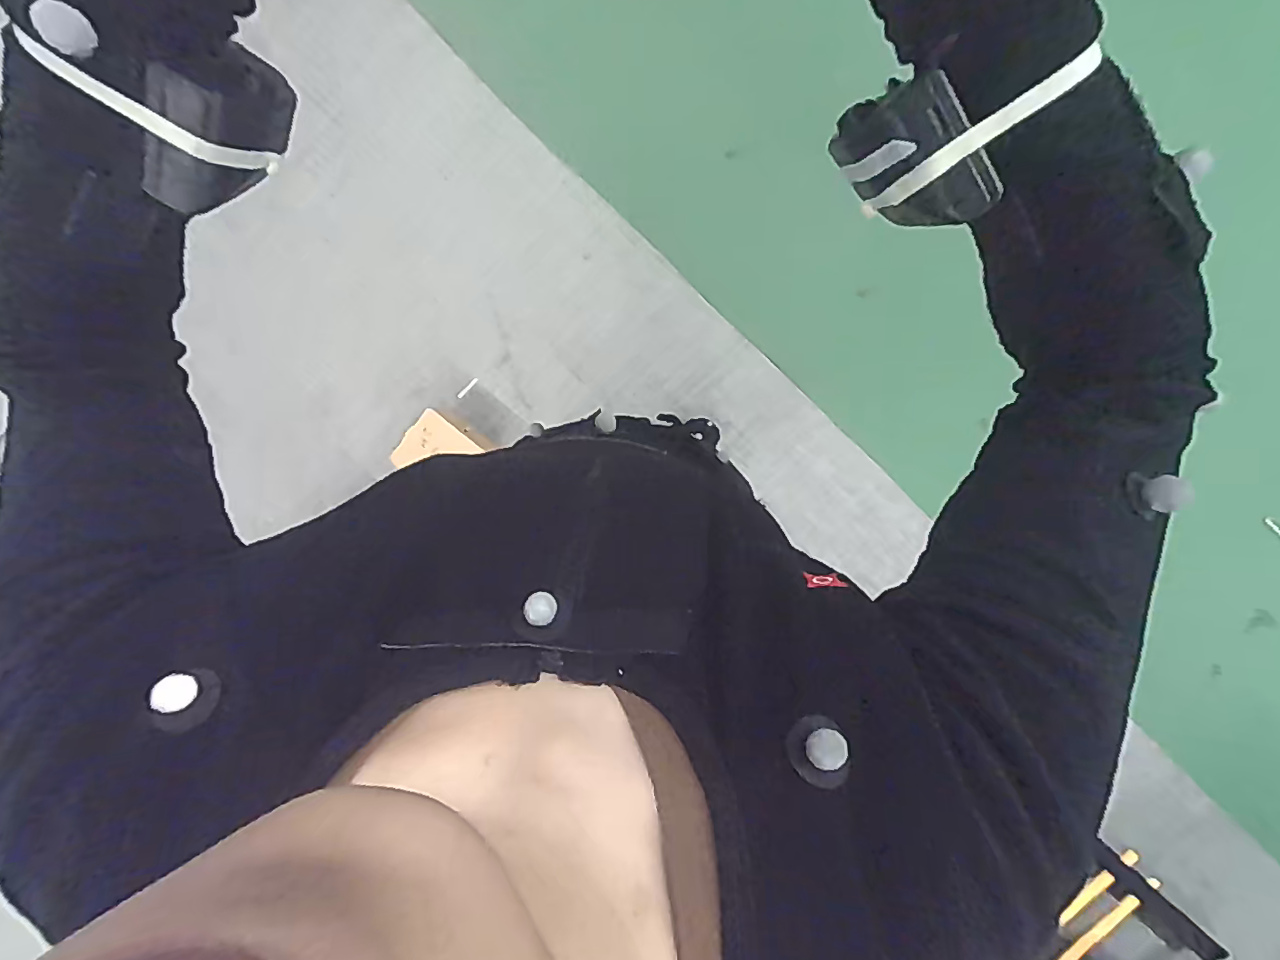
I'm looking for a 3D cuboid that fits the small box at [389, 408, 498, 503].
[{"bbox_3d":[-0.491,-0.067,1.385,0.179,0.176,0.168,39,93,-4],"label":"small box"}]
